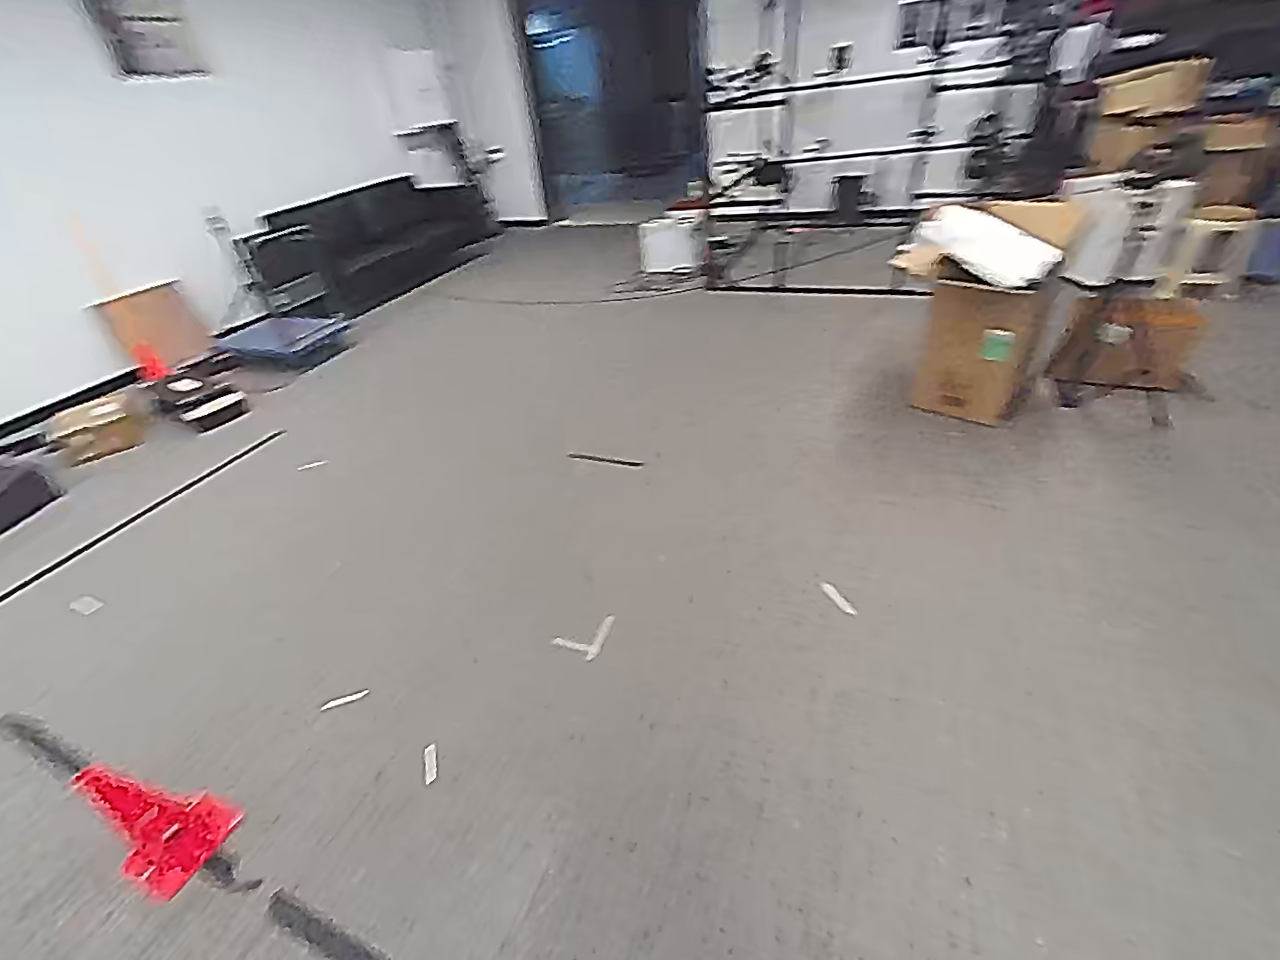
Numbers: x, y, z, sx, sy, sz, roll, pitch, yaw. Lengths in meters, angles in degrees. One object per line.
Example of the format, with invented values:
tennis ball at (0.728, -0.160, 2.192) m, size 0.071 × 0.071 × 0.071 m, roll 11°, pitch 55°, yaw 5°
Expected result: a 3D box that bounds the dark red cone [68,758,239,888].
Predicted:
dark red cone at (-1.161, 0.752, 1.254) m, size 0.202 × 0.394 × 0.201 m, roll 10°, pitch 40°, yaw 21°
